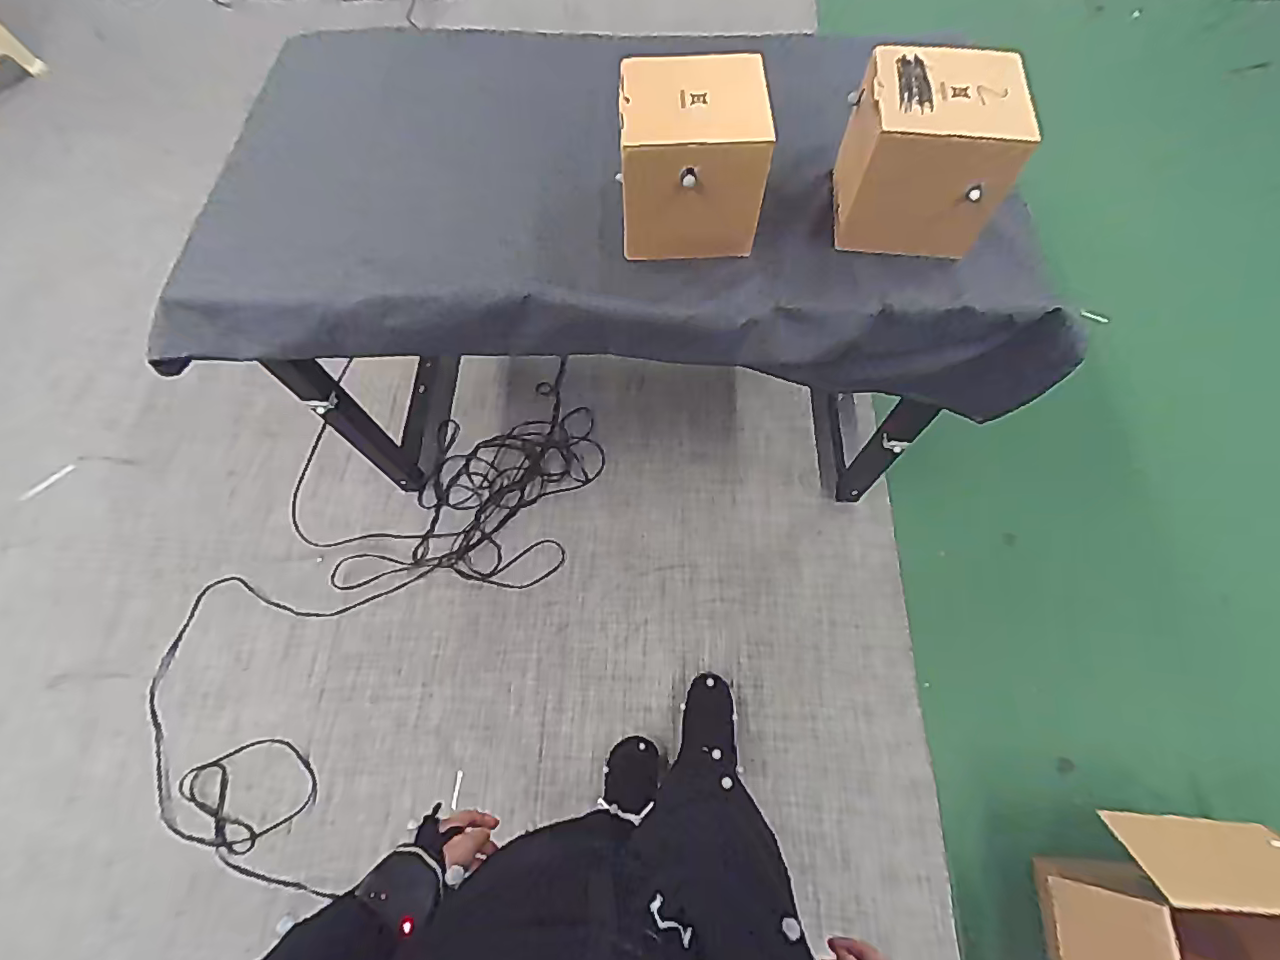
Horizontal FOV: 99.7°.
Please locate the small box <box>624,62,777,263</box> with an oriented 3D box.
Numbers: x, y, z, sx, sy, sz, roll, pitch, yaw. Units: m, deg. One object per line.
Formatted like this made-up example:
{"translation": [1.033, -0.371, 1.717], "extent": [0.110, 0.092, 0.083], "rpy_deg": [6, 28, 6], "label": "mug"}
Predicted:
{"translation": [0.071, -0.410, 0.714], "extent": [0.179, 0.176, 0.168], "rpy_deg": [-2, 66, 2], "label": "small box"}
